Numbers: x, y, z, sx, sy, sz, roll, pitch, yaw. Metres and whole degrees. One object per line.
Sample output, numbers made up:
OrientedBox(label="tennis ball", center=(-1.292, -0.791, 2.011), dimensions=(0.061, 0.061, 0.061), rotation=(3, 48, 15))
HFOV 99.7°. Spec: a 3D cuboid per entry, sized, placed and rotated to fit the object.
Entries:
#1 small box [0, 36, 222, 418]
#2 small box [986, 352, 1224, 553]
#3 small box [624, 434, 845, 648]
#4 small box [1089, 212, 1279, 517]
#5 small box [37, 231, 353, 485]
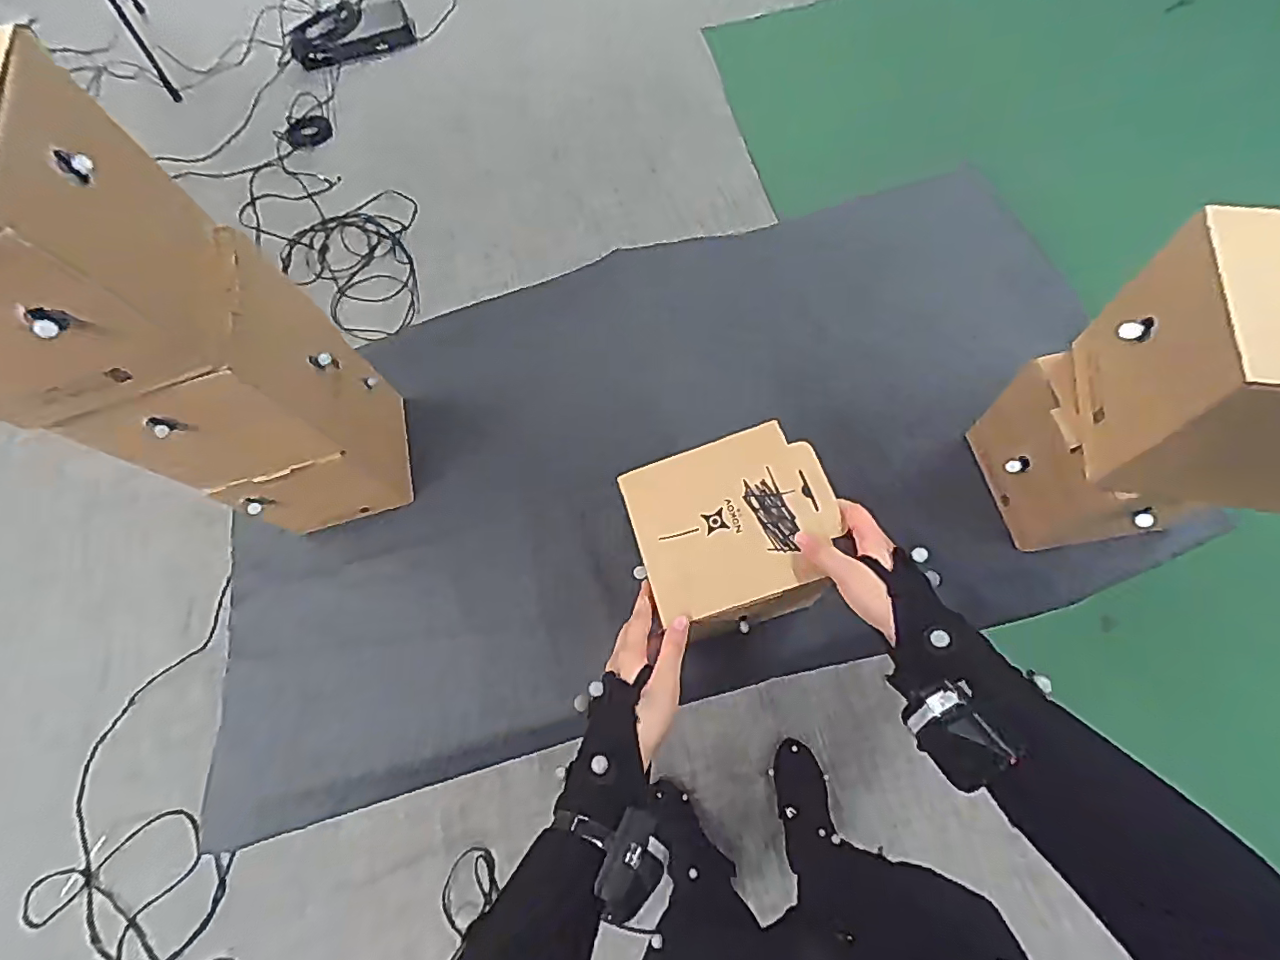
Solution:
OrientedBox(label="small box", center=(-0.449, -0.164, 0.398), dimensions=(0.168, 0.176, 0.179), rotation=(-18, 68, -2))
OrientedBox(label="small box", center=(0.513, -0.029, 0.587), dimensions=(0.179, 0.176, 0.168), rotation=(-10, 65, 3))
OrientedBox(label="small box", center=(0.095, 0.077, 0.597), dimensions=(0.179, 0.176, 0.168), rotation=(-17, 67, 1))
OrientedBox(label="small box", center=(0.501, -0.081, 0.431), dimensions=(0.179, 0.176, 0.168), rotation=(10, 68, 11))
OrientedBox(label="small box", center=(-0.426, -0.109, 0.549), dimensions=(0.179, 0.176, 0.168), rotation=(-15, 69, 0))
